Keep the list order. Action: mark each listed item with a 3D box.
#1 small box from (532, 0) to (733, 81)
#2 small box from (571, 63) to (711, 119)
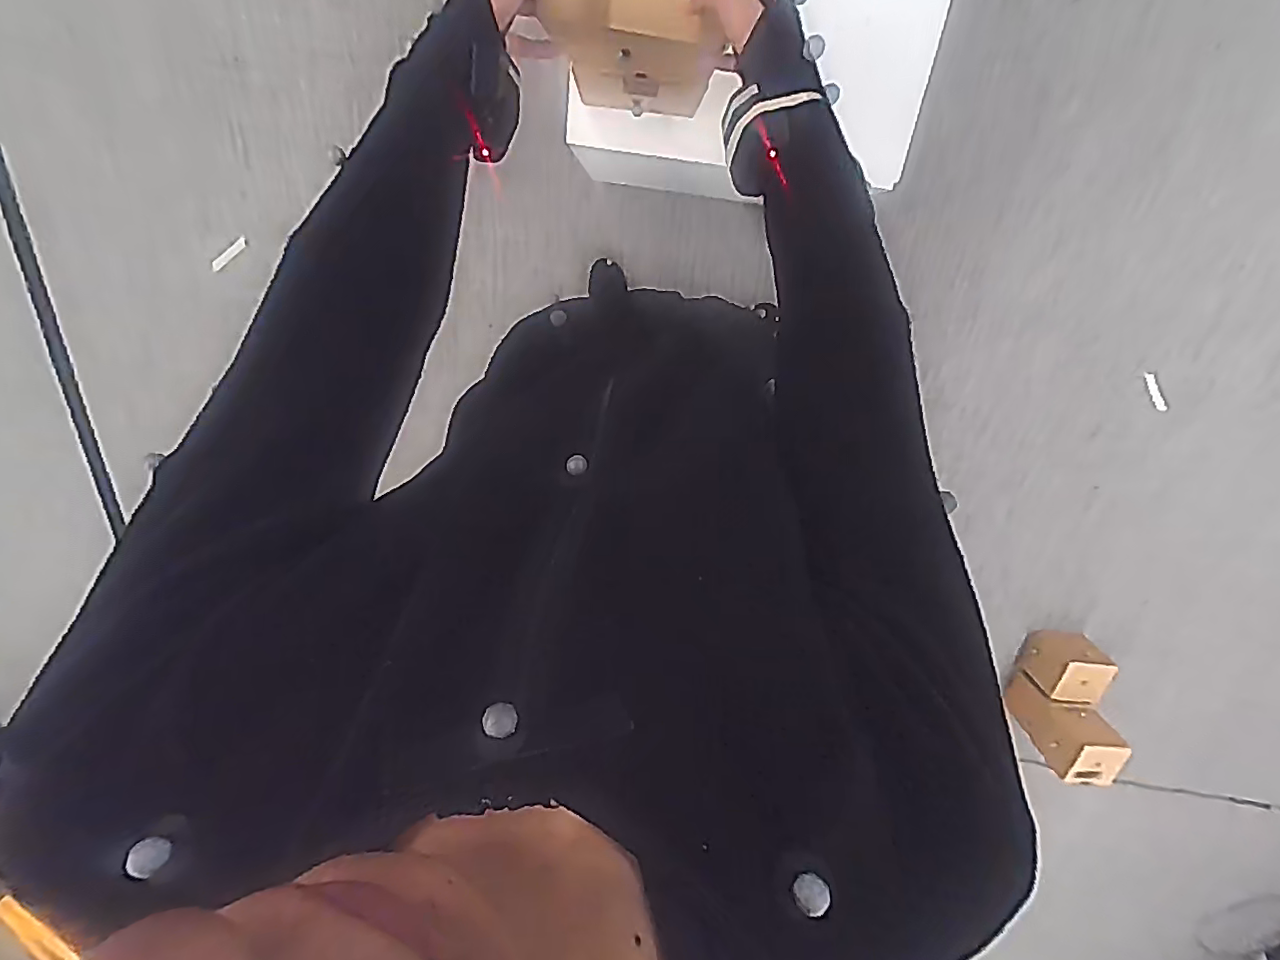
[{"bbox_3d":[0.002,-0.503,0.517,0.179,0.176,0.168,8,118,-1],"label":"small box"},{"bbox_3d":[0.008,-0.577,0.672,0.168,0.176,0.179,5,114,-2],"label":"small box"}]
